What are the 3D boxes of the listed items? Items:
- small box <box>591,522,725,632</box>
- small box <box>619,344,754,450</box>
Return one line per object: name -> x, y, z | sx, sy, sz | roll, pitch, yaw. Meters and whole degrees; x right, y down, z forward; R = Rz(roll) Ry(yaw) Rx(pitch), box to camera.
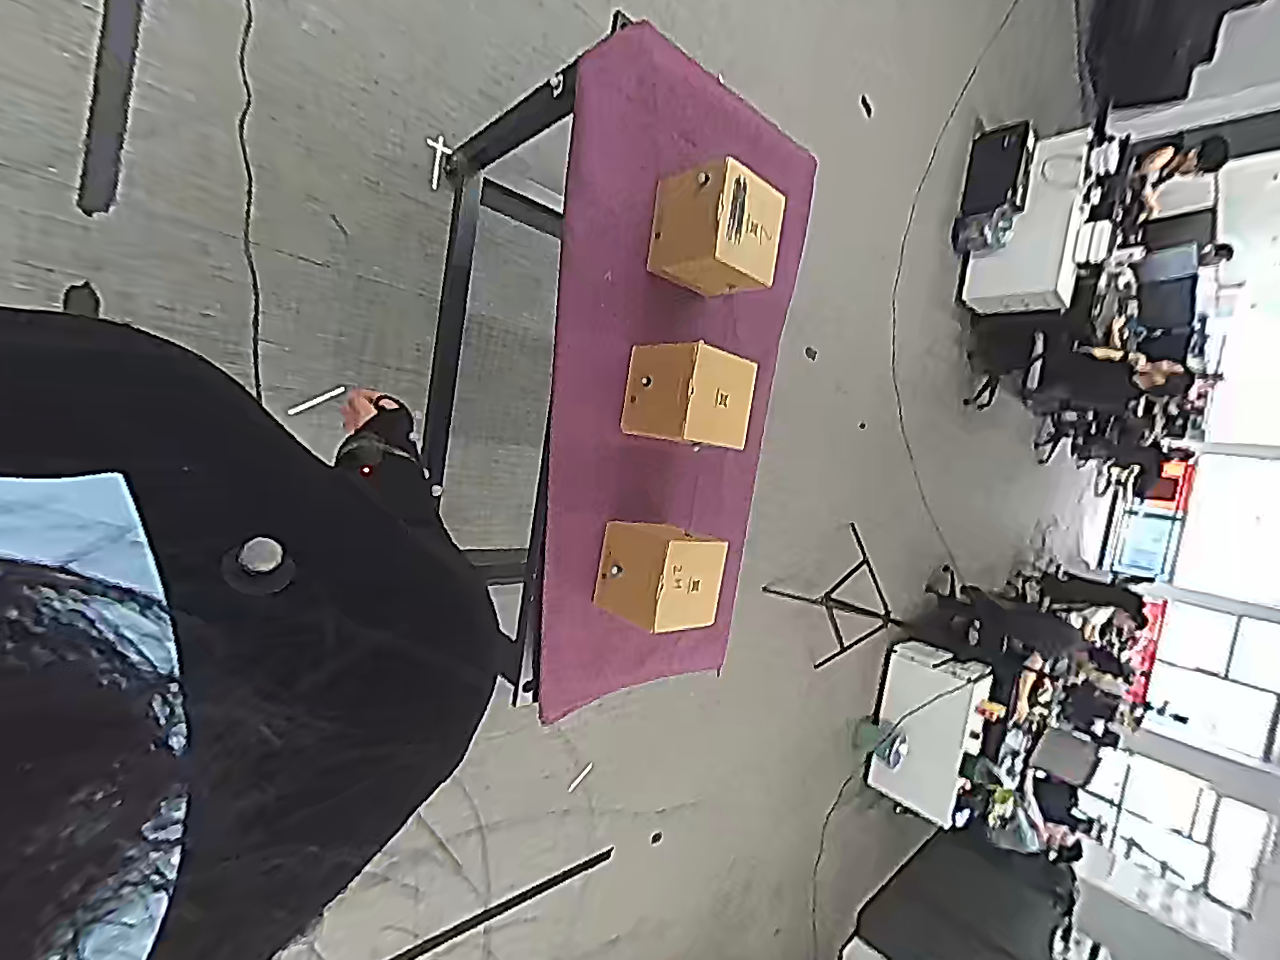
small box -> 0.034, 0.179, 1.043 | 0.179, 0.176, 0.168 | 8, 92, -44
small box -> 0.087, -0.157, 1.028 | 0.179, 0.176, 0.168 | 6, 95, -43
